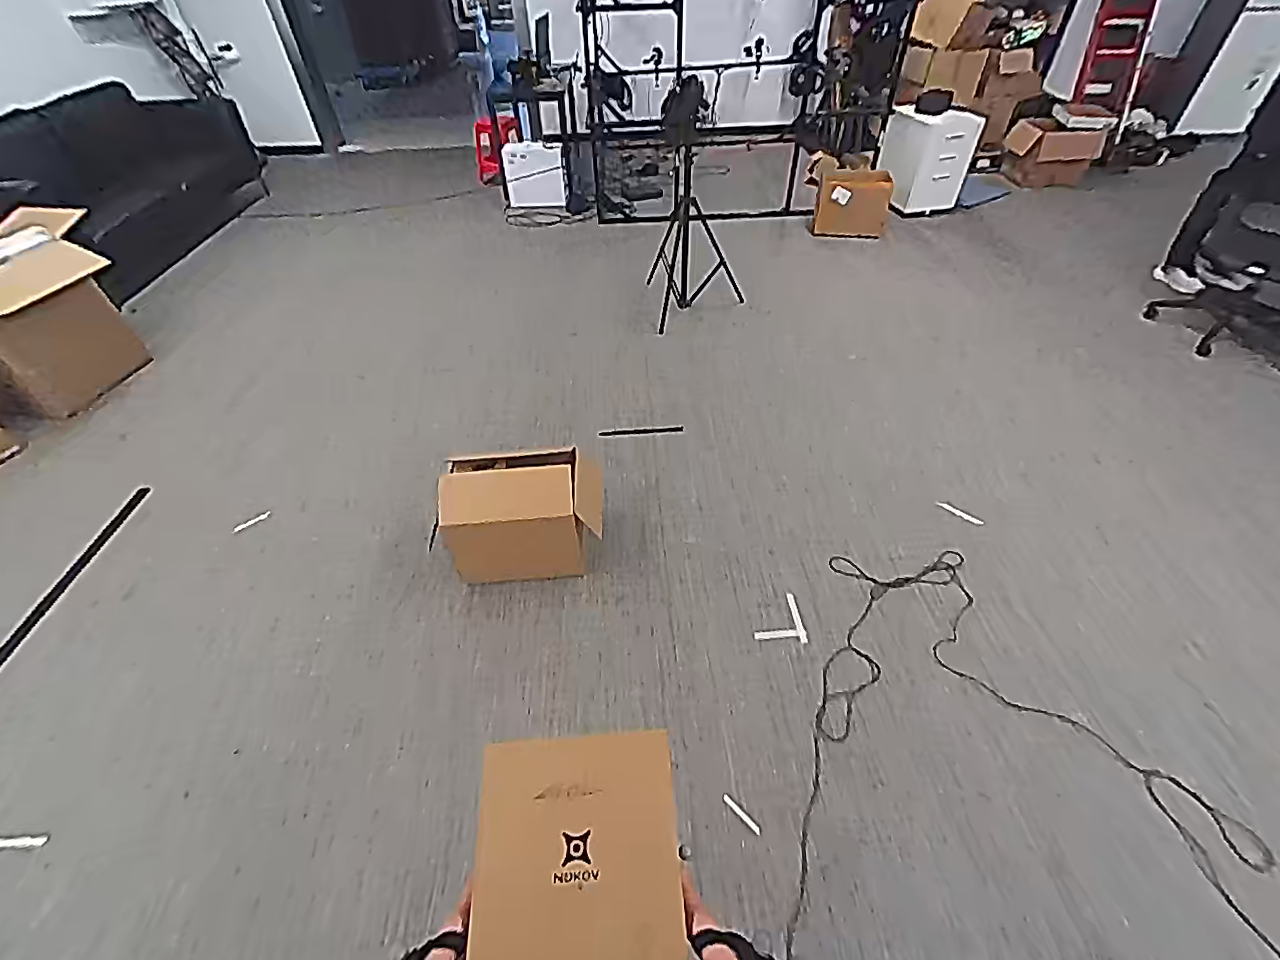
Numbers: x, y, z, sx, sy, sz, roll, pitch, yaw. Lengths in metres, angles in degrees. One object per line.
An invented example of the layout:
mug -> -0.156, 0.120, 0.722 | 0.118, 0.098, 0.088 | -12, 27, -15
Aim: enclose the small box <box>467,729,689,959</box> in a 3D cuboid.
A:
small box -> -0.049, 0.344, 0.494 | 0.168, 0.176, 0.179 | -4, 53, -3
